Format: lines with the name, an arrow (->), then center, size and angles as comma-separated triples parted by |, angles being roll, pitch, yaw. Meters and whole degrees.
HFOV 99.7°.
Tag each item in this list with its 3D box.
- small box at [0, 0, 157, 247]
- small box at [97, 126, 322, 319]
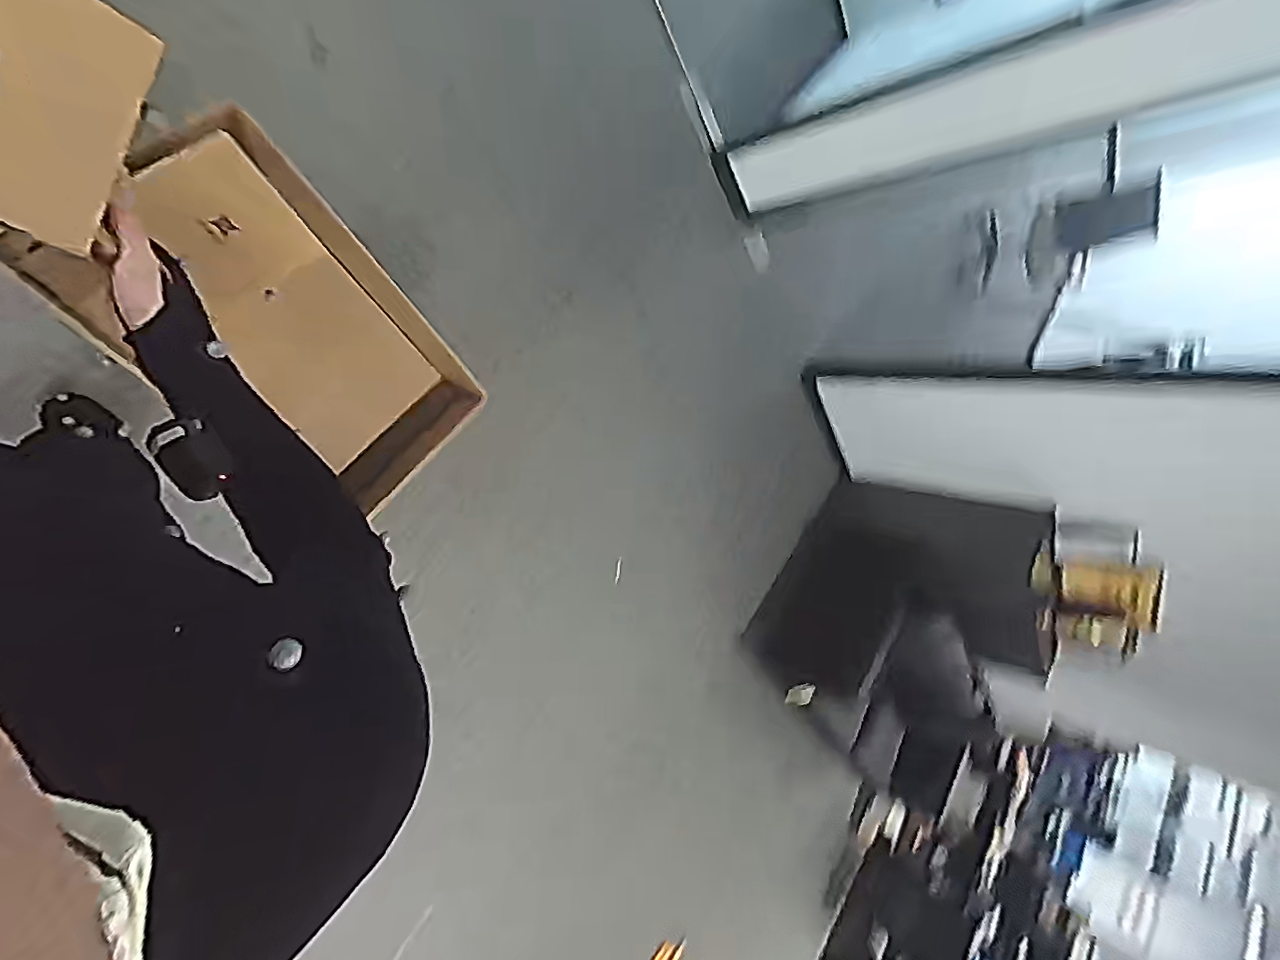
small box -> -0.496, -0.295, 0.392 | 0.168, 0.176, 0.179 | 19, 92, -51
small box -> -0.587, -0.340, 0.739 | 0.179, 0.176, 0.168 | -51, 128, -24
